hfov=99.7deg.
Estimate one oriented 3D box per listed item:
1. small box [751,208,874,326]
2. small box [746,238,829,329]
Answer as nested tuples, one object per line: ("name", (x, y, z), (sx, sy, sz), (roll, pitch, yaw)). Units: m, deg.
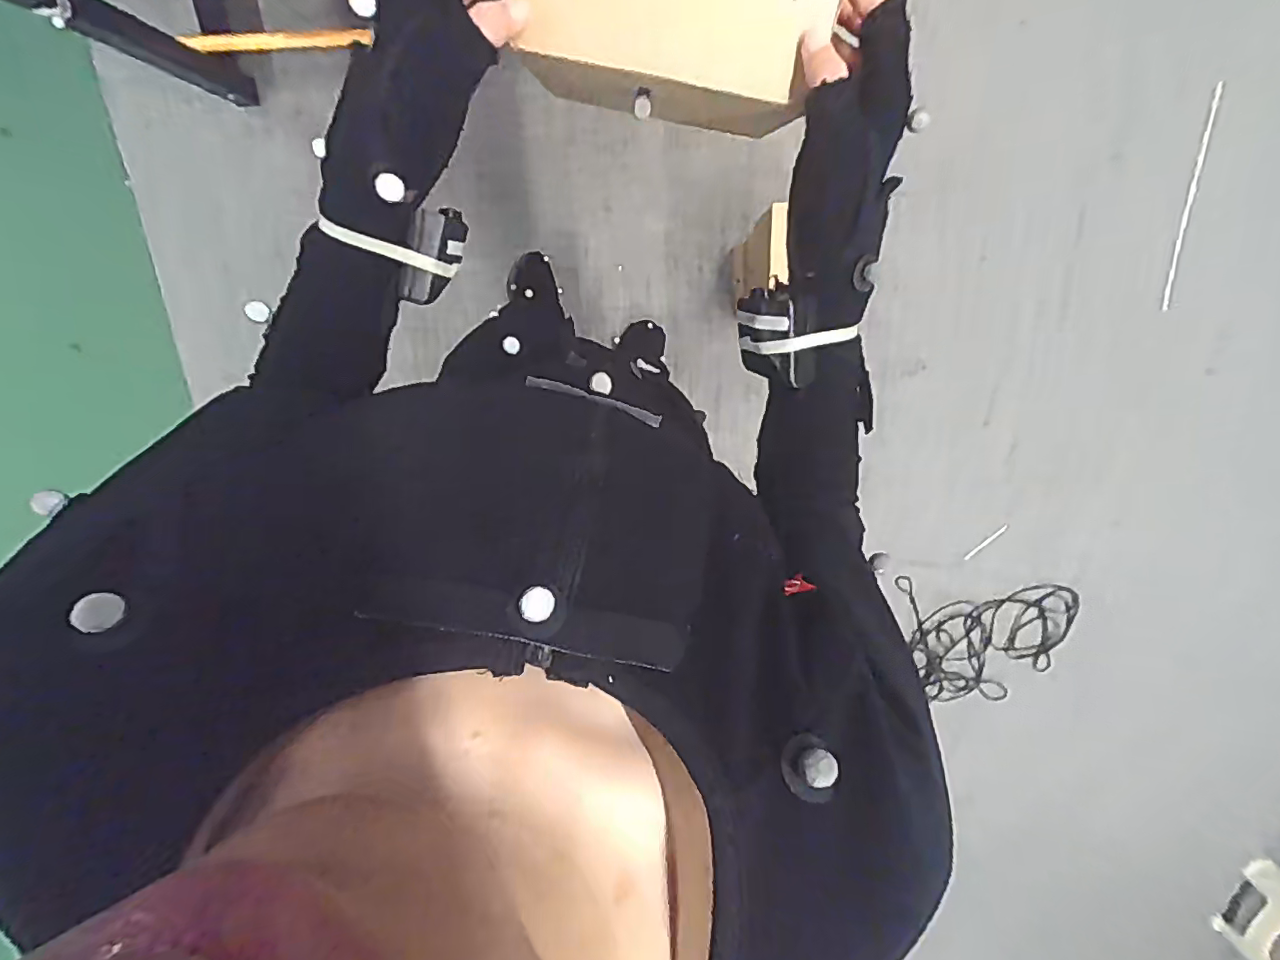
("small box", (0.290, -0.363, 0.946), (0.168, 0.176, 0.179), (-1, 108, 3))
("small box", (0.311, -0.406, 1.102), (0.168, 0.176, 0.179), (-4, 106, 3))
